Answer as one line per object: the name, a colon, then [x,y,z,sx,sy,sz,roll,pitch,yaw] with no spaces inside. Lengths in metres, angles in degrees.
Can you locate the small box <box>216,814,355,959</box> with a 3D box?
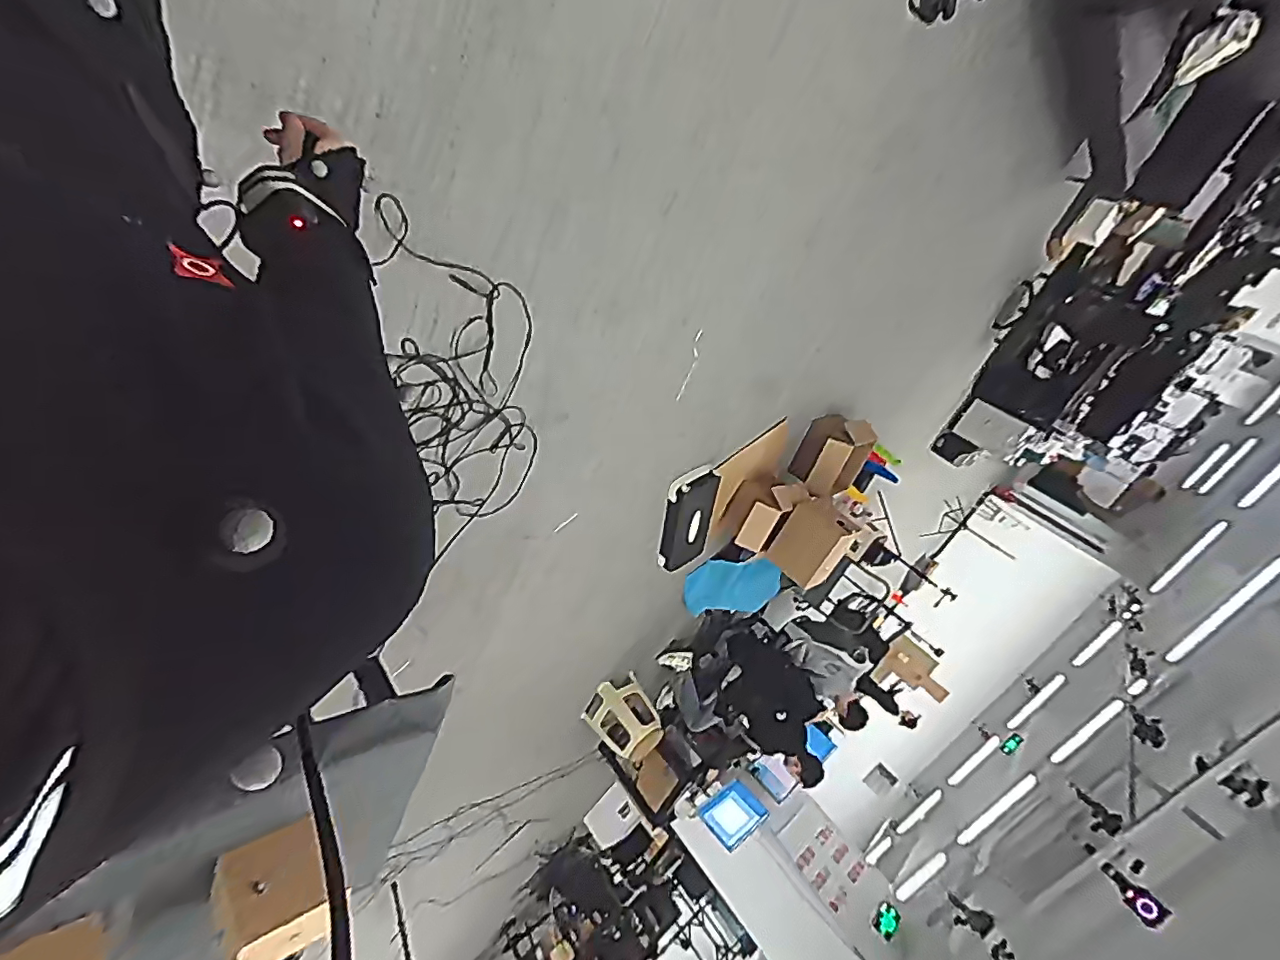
small box: [-0.672,0.784,1.017,0.179,0.176,0.168,-4,129,-49]
